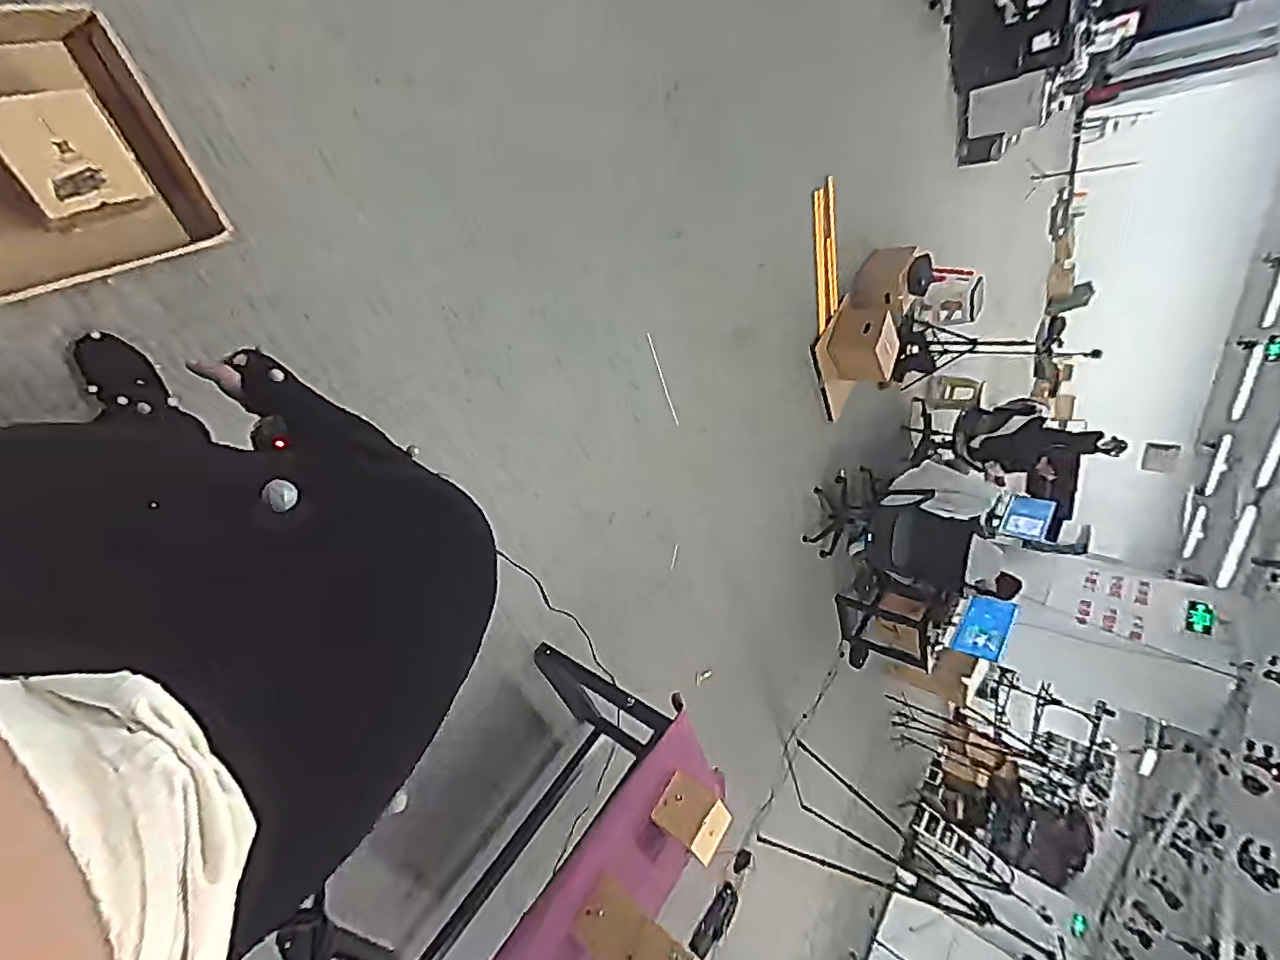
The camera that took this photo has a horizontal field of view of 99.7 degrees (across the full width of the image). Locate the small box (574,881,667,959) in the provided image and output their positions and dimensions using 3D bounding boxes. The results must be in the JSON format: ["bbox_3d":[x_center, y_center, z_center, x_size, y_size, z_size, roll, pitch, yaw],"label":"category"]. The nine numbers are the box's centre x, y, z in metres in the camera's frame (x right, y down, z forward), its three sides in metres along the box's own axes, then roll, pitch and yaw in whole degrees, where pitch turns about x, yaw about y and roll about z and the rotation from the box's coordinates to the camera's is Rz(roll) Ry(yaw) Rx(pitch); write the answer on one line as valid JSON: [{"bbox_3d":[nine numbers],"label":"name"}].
[{"bbox_3d":[-0.056,1.295,1.541,0.168,0.176,0.179,-46,130,-31],"label":"small box"}]

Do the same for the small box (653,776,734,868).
[{"bbox_3d":[0.172,1.096,1.744,0.168,0.176,0.179,-48,131,-28],"label":"small box"}]
